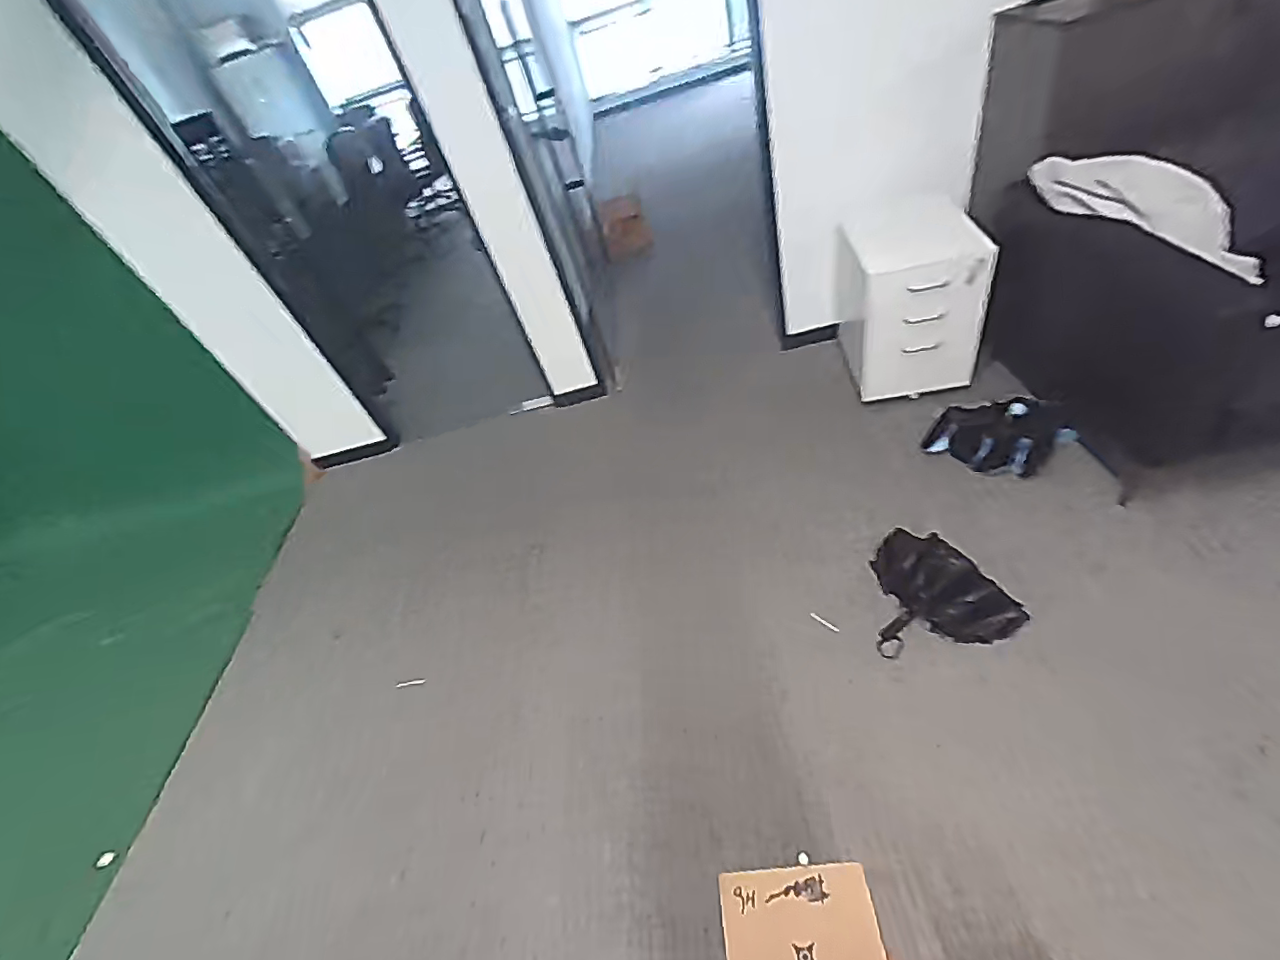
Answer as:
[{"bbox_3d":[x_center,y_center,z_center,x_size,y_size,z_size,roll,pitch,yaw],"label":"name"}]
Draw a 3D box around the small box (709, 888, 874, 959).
[{"bbox_3d":[0.183,0.574,0.600,0.168,0.176,0.179,-14,46,10],"label":"small box"}]
